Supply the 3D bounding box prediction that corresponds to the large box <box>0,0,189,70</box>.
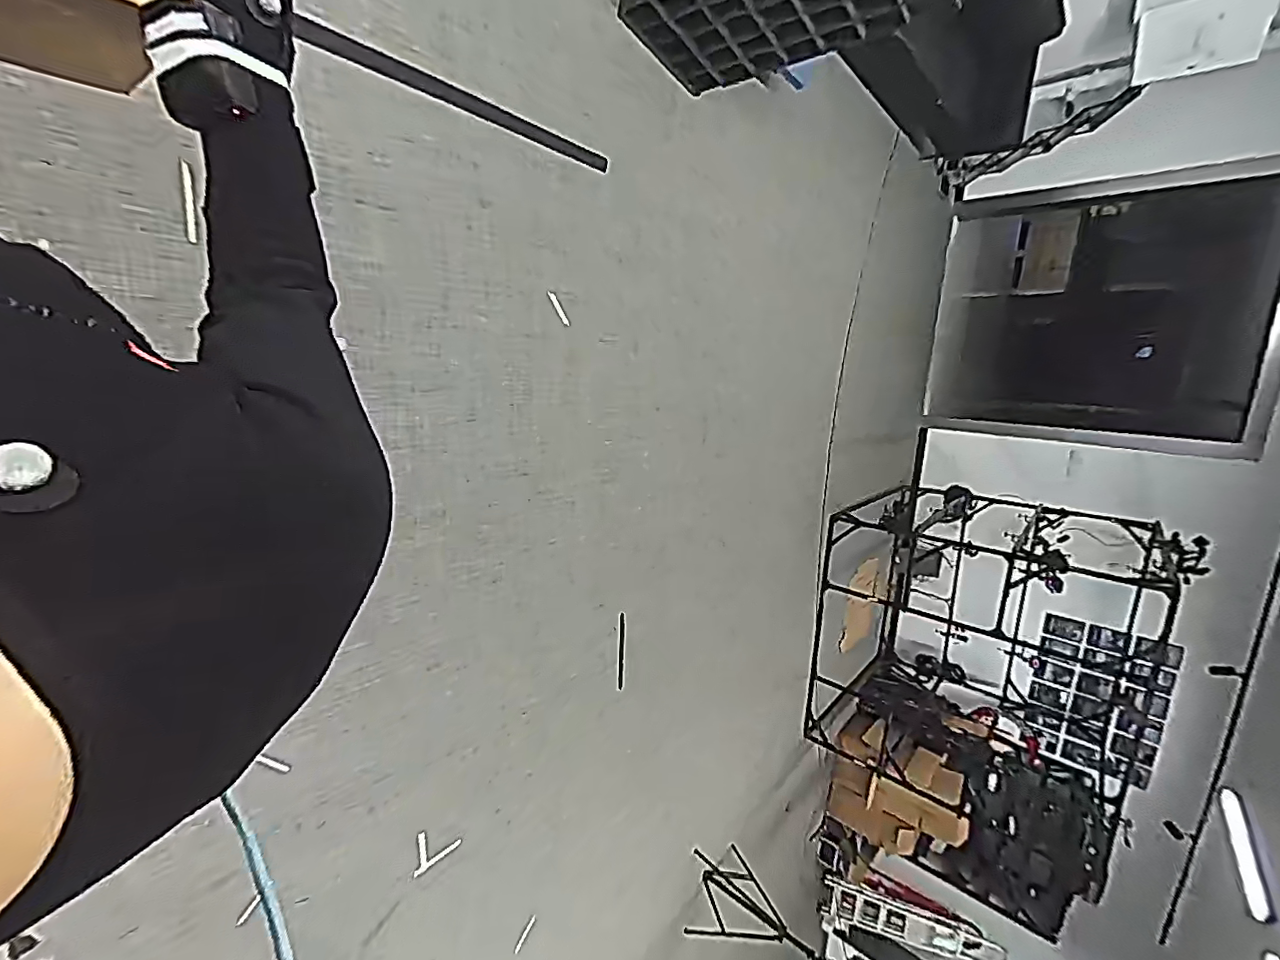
[{"bbox_3d":[-0.547,-0.492,0.284,0.408,0.320,0.320,-14,118,-48],"label":"large box"}]
